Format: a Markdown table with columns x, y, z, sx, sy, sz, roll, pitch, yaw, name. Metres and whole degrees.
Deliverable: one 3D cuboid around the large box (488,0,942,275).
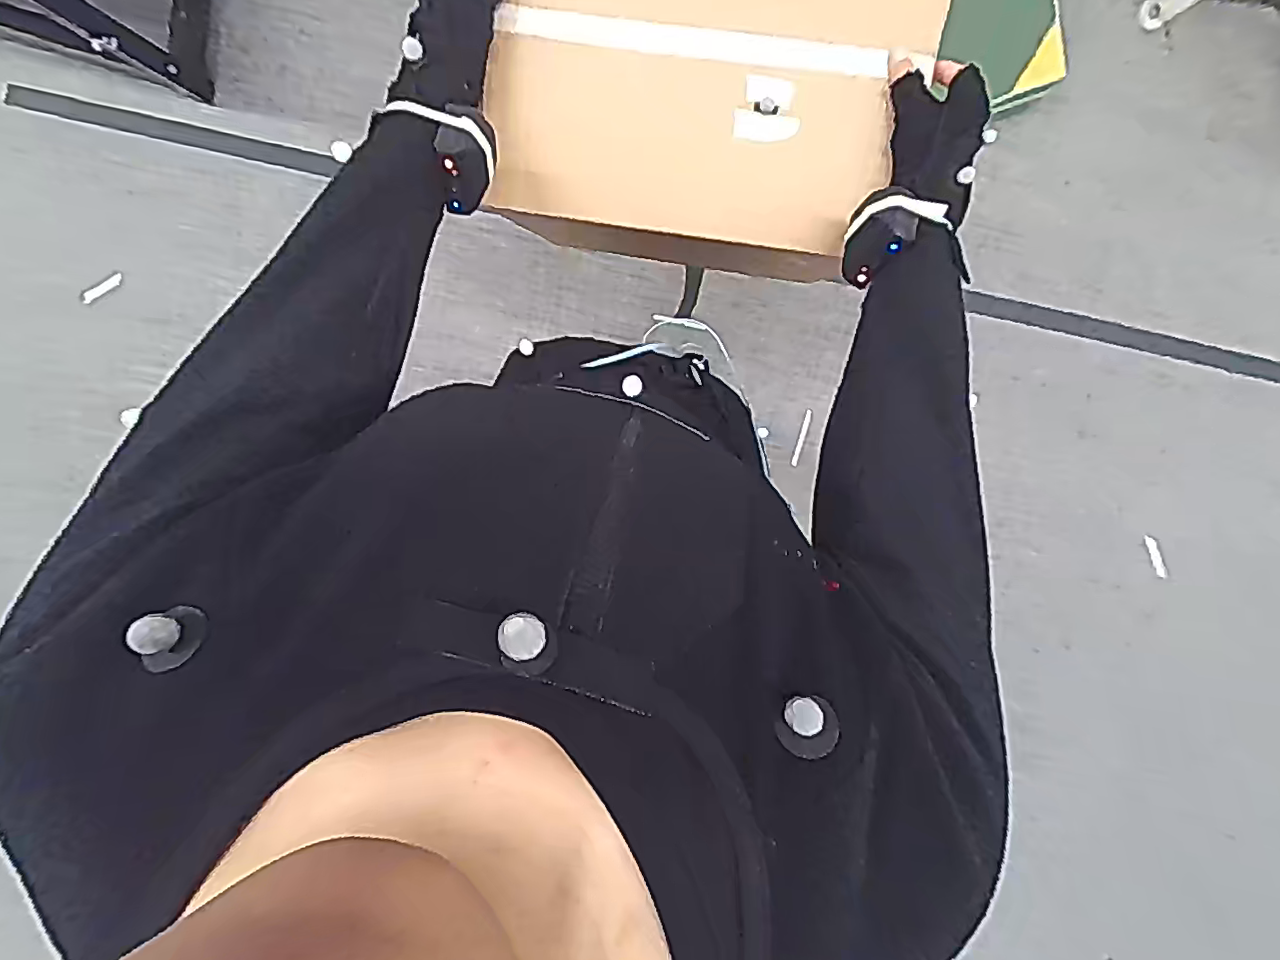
| x | y | z | sx | sy | sz | roll | pitch | yaw | name |
| --- | --- | --- | --- | --- | --- | --- | --- | --- | --- |
| 0.070 | -0.438 | 0.636 | 0.408 | 0.320 | 0.320 | 9 | 108 | 2 | large box |
